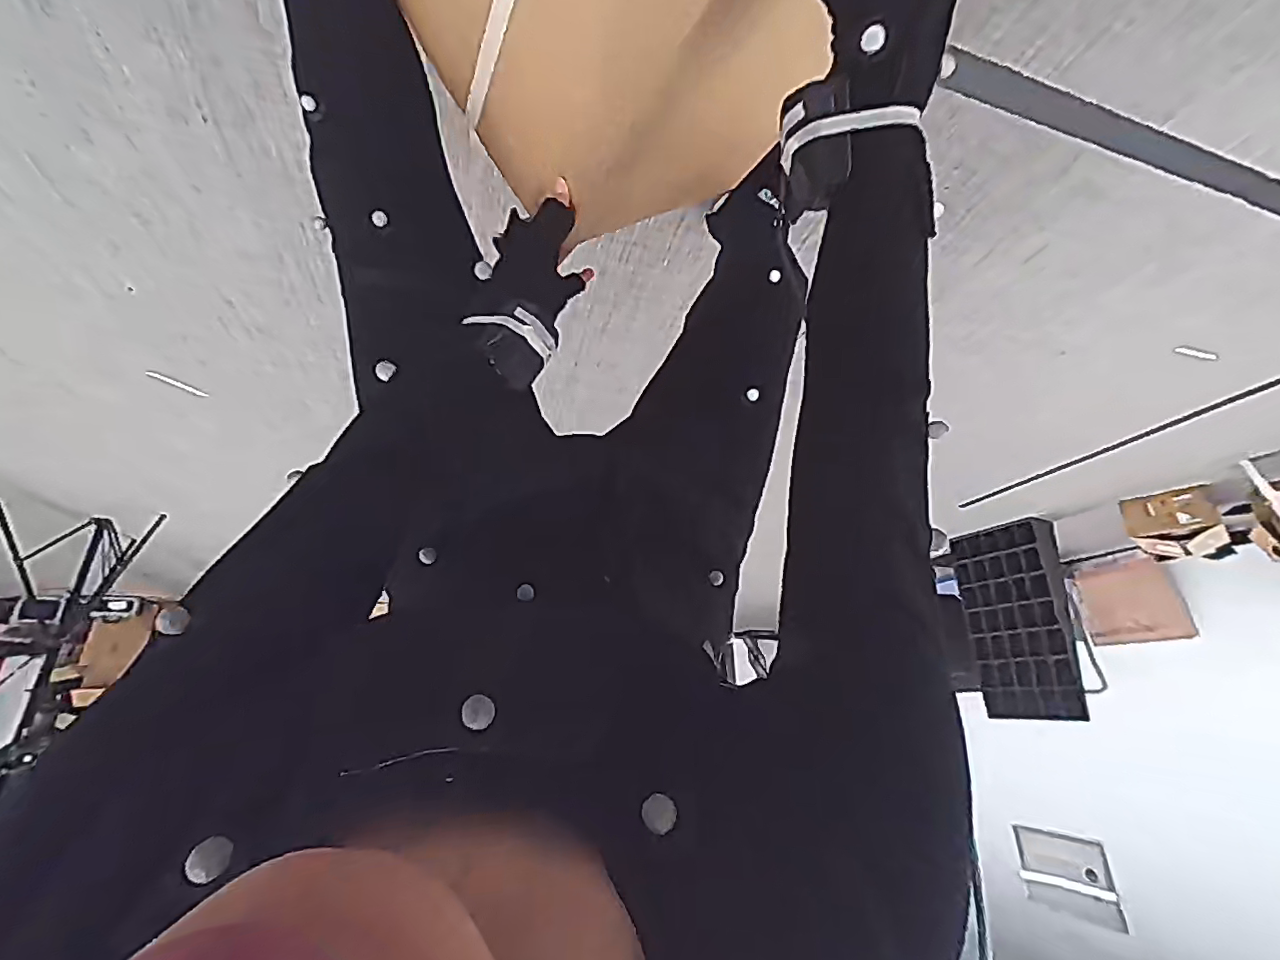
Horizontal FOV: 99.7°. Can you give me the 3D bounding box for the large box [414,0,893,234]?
[{"bbox_3d":[0.034,-0.502,0.476,0.320,0.320,0.408,-36,-175,-32],"label":"large box"}]
